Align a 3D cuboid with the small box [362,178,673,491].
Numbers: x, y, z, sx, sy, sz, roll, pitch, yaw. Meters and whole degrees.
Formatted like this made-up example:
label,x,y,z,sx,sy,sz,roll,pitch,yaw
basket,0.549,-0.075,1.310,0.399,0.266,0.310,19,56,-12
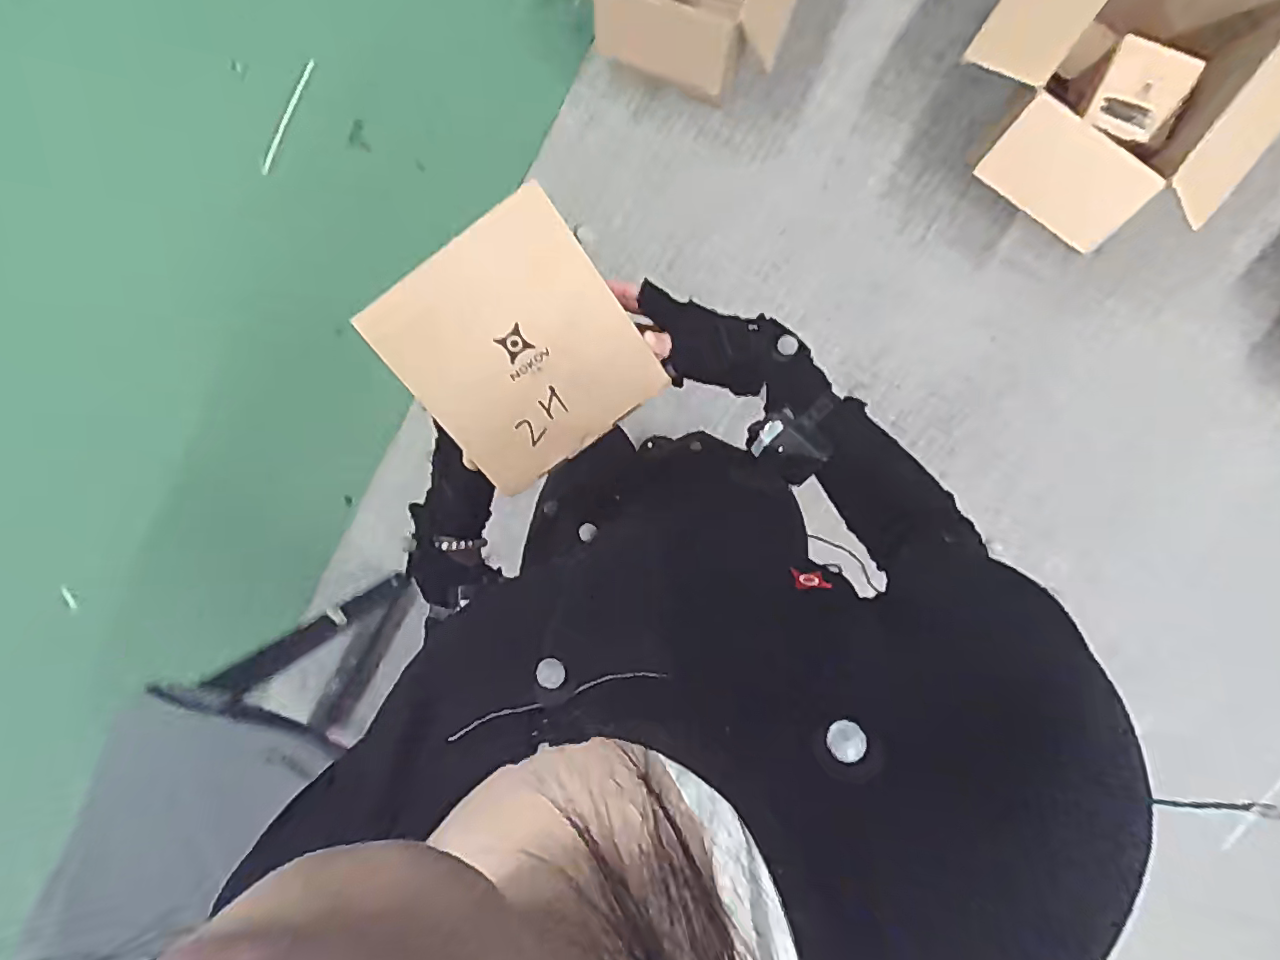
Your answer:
label,x,y,z,sx,sy,sz,roll,pitch,yaw
small box,-0.097,-0.123,0.480,0.168,0.176,0.179,-34,110,4
